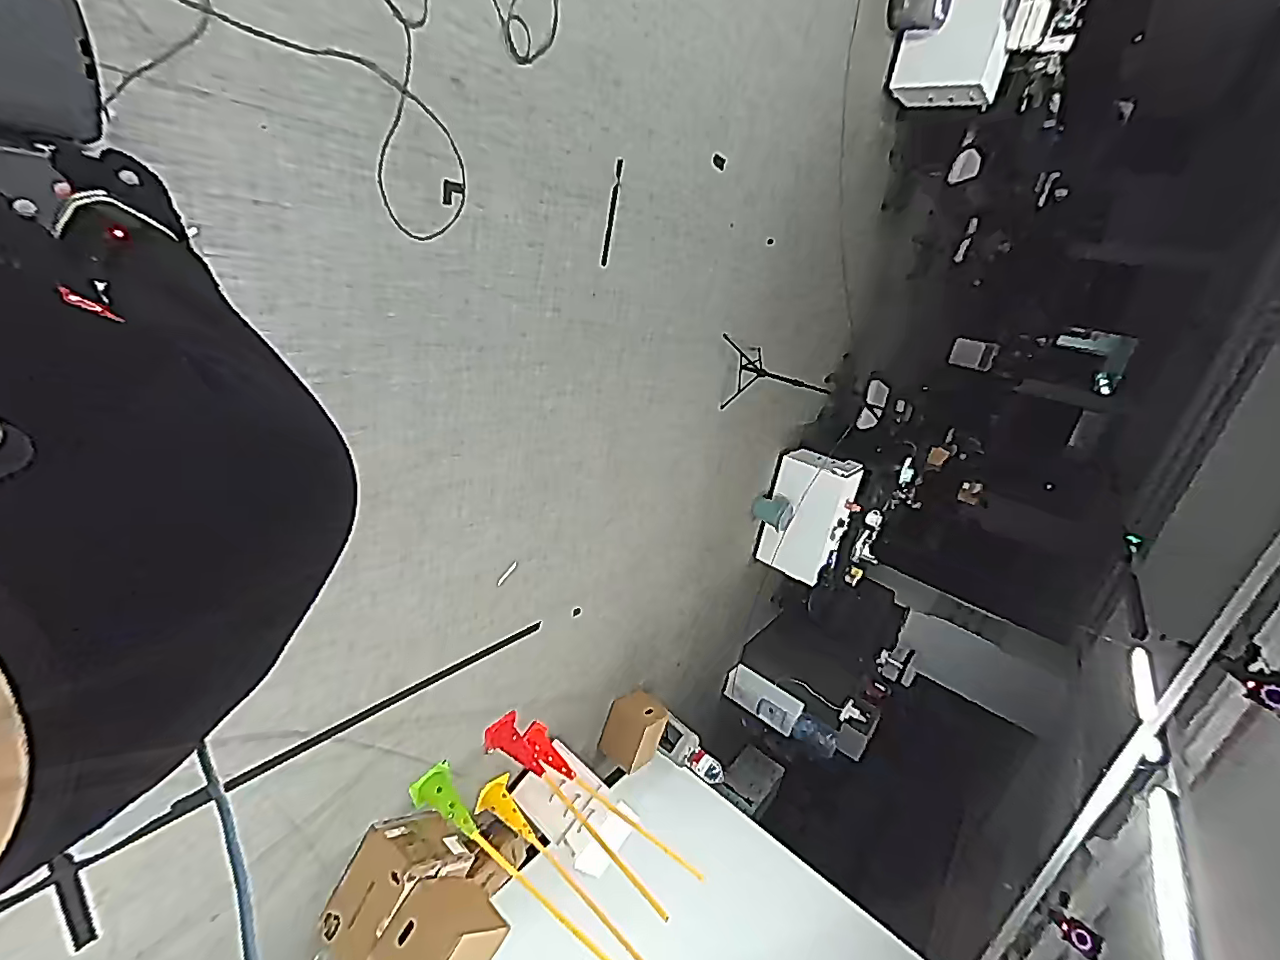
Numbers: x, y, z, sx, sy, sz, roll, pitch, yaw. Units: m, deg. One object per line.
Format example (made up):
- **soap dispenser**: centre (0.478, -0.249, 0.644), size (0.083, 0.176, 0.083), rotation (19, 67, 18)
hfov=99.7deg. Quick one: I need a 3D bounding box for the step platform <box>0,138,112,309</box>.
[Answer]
- **step platform**: centre (-1.295, -0.426, 0.836), size (0.684, 0.204, 0.286), rotation (-18, 125, -47)
